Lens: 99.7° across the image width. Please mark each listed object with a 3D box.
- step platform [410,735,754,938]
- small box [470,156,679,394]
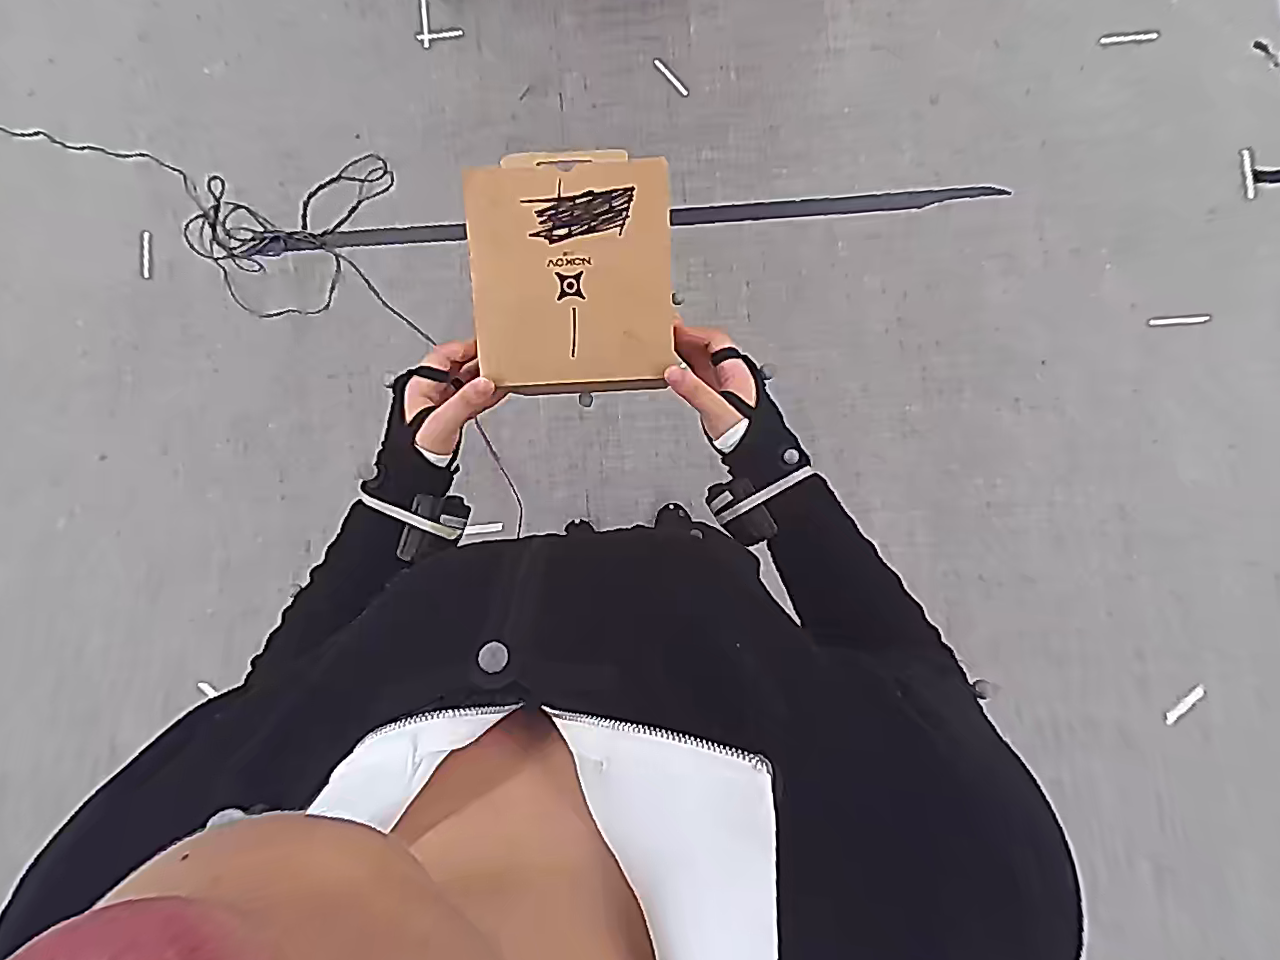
[{"bbox_3d":[-0.114,0.742,1.159,0.684,0.204,0.286,-6,87,3],"label":"step platform"},{"bbox_3d":[-0.052,-0.178,0.518,0.168,0.176,0.179,-3,97,1],"label":"small box"}]
